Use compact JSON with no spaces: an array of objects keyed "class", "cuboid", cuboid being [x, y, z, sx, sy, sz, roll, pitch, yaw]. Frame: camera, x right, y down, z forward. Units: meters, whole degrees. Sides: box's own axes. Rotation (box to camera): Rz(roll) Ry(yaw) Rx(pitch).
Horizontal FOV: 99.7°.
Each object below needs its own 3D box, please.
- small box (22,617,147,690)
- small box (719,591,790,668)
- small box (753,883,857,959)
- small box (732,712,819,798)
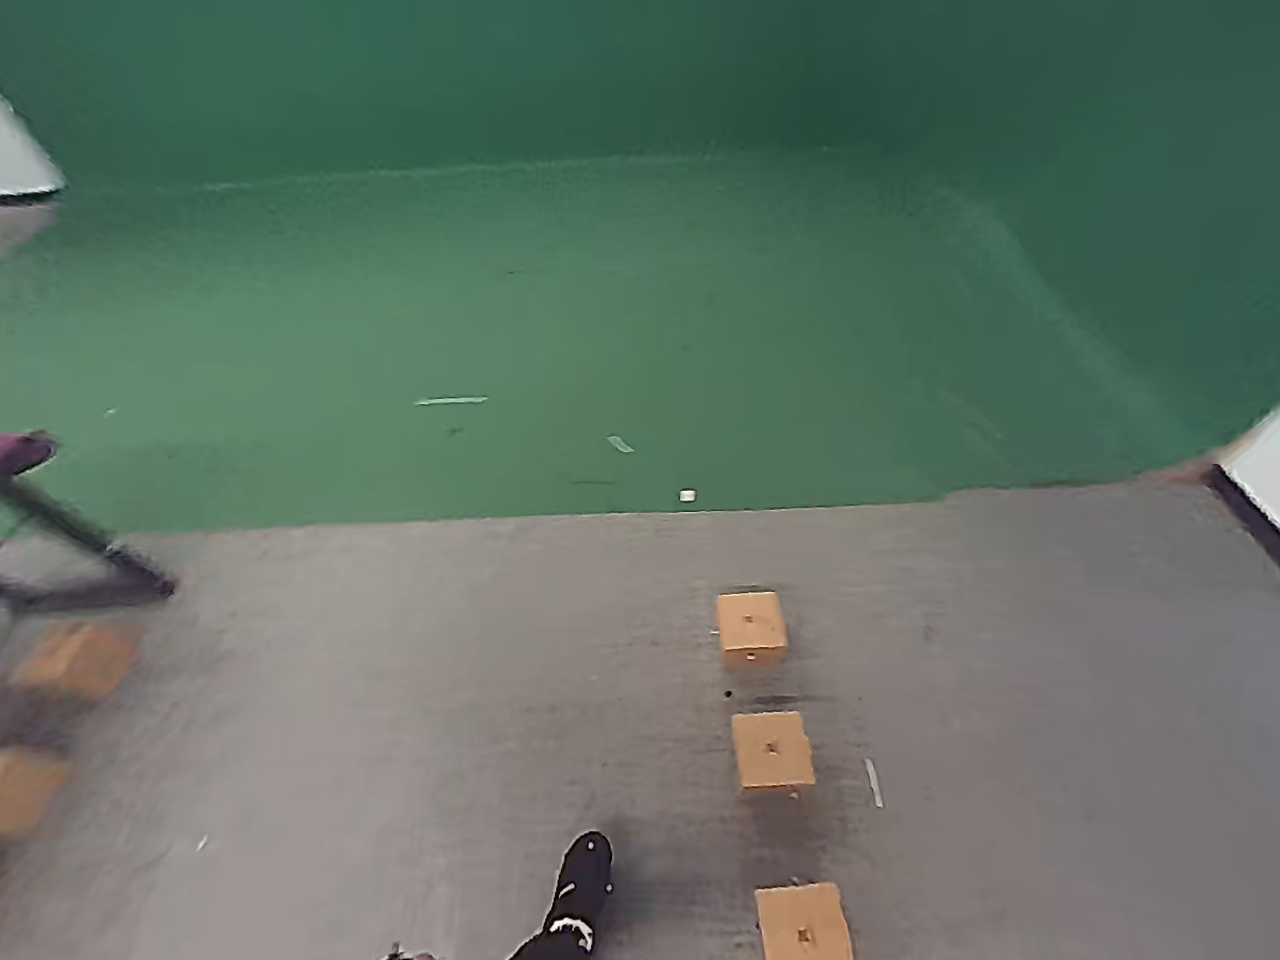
[{"class":"small box","cuboid":[-1.693,0.537,1.664,0.168,0.176,0.179,-1,52,4]},{"class":"small box","cuboid":[0.325,0.438,1.568,0.179,0.176,0.168,-3,52,2]},{"class":"small box","cuboid":[0.341,0.967,1.143,0.179,0.176,0.168,-5,51,0]},{"class":"small box","cuboid":[0.333,0.695,1.363,0.179,0.176,0.168,-3,51,3]}]
